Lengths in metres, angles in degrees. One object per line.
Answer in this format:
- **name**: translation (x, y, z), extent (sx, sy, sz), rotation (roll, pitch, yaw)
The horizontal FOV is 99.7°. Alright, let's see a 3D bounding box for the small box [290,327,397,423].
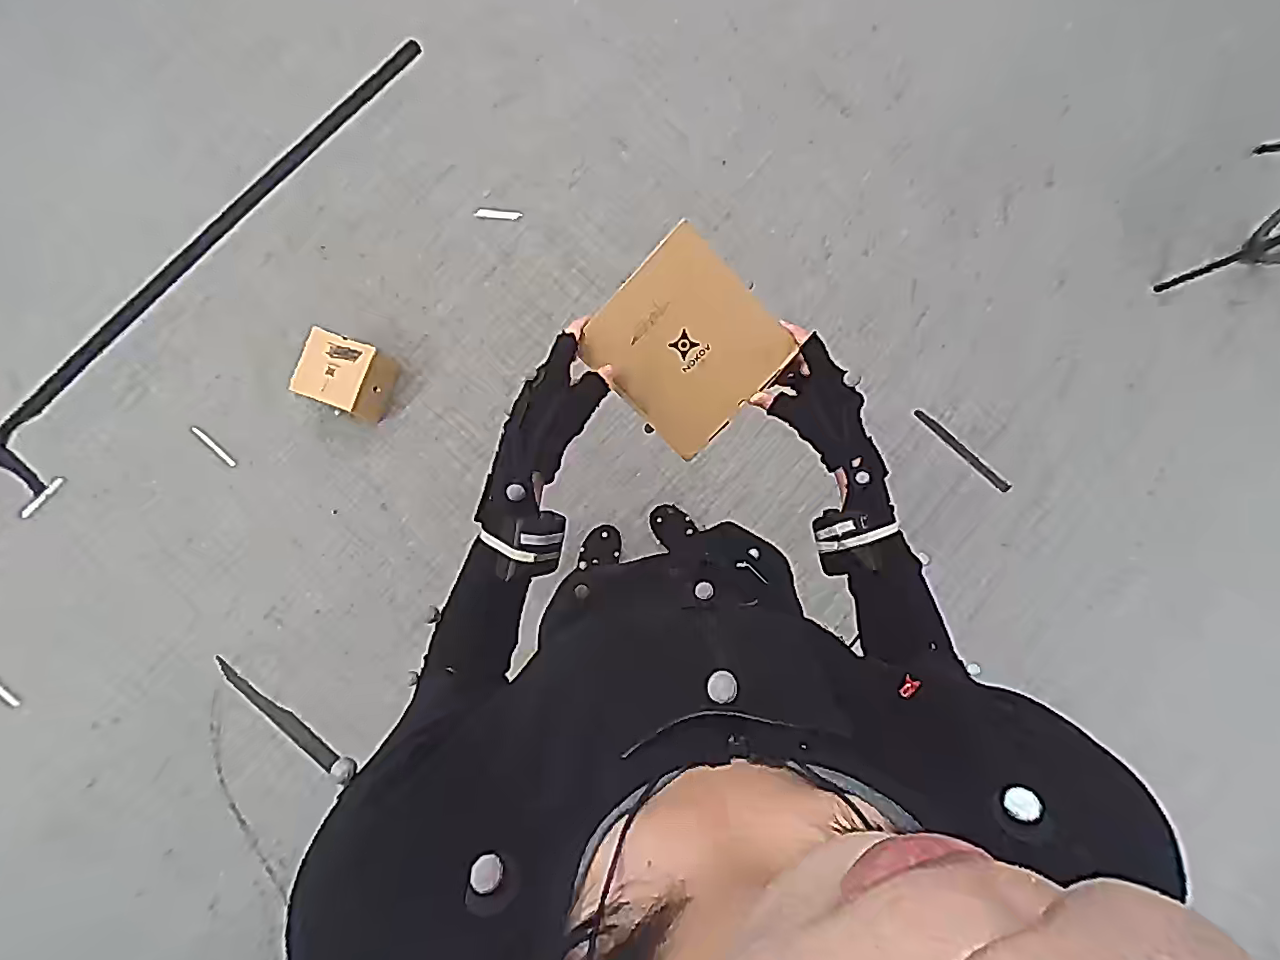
- **small box**: translation (-0.765, -0.268, 1.419), extent (0.168, 0.176, 0.179), rotation (20, 86, -2)
